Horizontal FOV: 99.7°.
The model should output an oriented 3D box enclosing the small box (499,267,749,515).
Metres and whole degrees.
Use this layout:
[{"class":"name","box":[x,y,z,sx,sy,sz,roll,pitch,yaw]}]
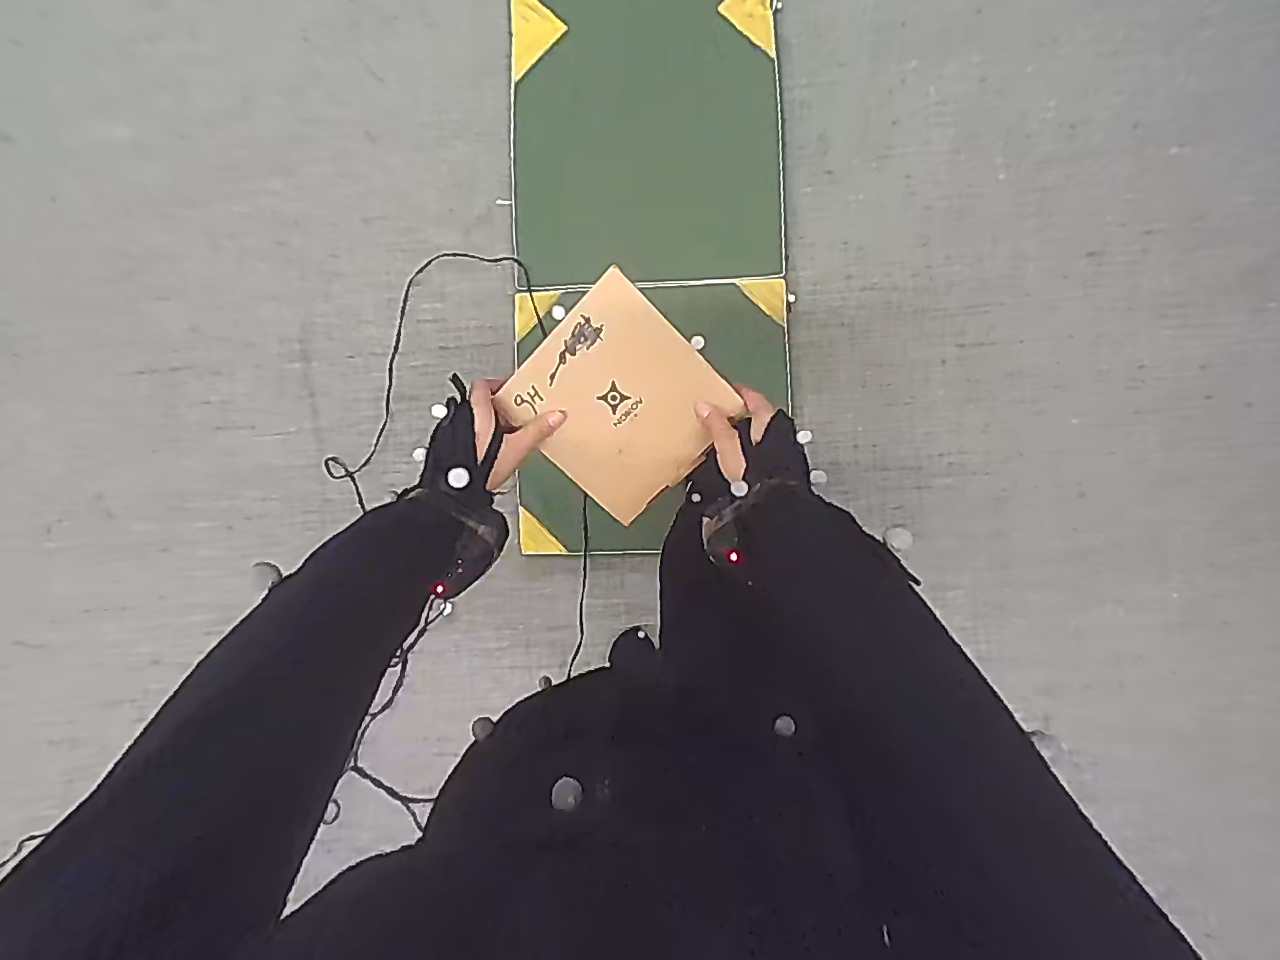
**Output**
[{"class":"small box","box":[-0.013,-0.099,0.575,0.179,0.176,0.168,43,102,-11]}]
